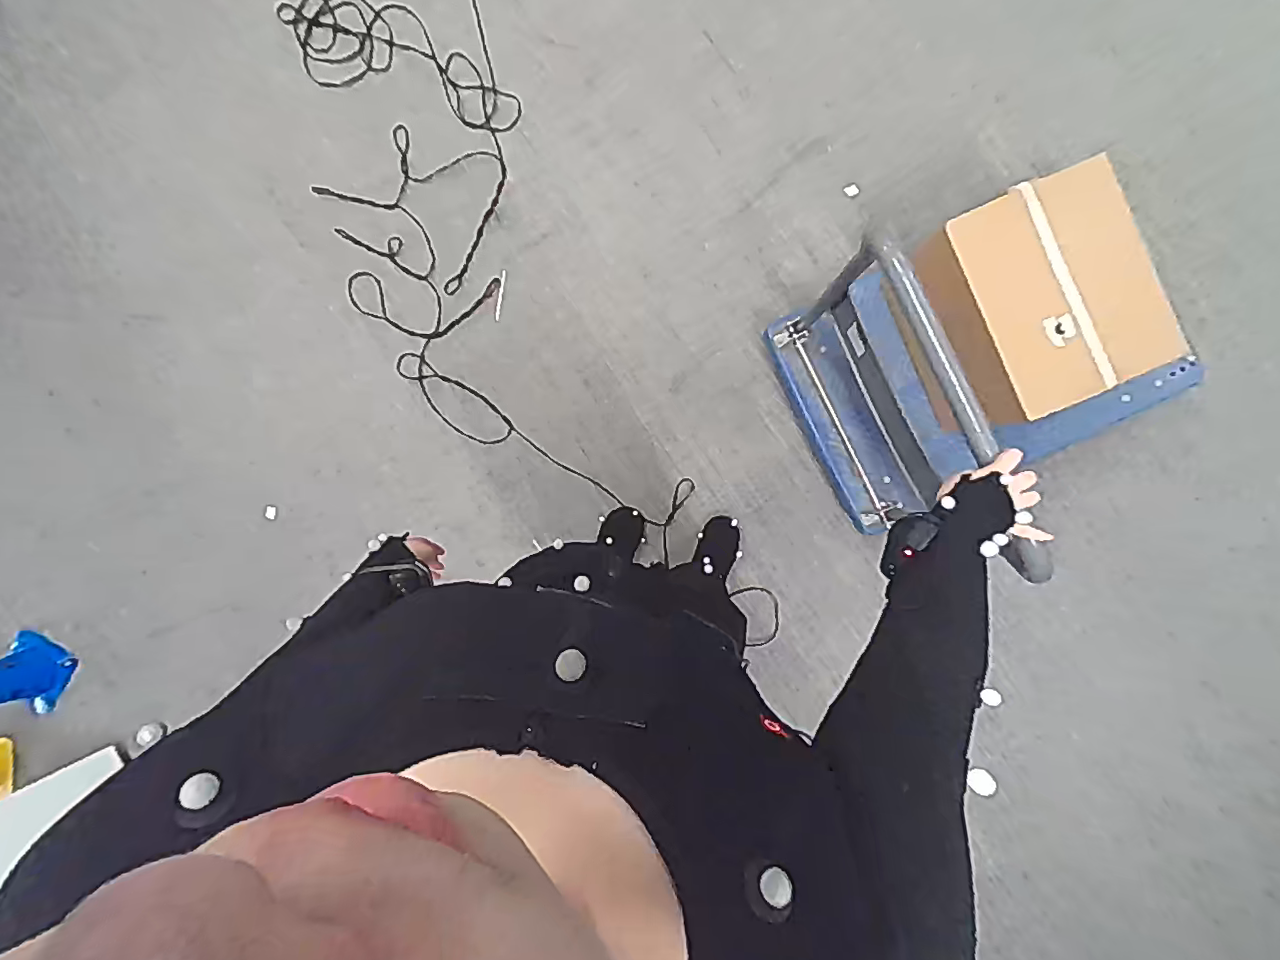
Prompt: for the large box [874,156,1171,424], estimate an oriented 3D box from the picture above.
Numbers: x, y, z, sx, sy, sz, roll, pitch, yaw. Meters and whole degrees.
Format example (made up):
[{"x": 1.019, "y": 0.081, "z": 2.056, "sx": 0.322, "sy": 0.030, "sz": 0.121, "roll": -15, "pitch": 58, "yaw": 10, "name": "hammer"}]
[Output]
[{"x": 0.776, "y": -0.370, "z": 1.159, "sx": 0.320, "sy": 0.320, "sz": 0.408, "roll": -24, "pitch": 91, "yaw": 3, "name": "large box"}]
